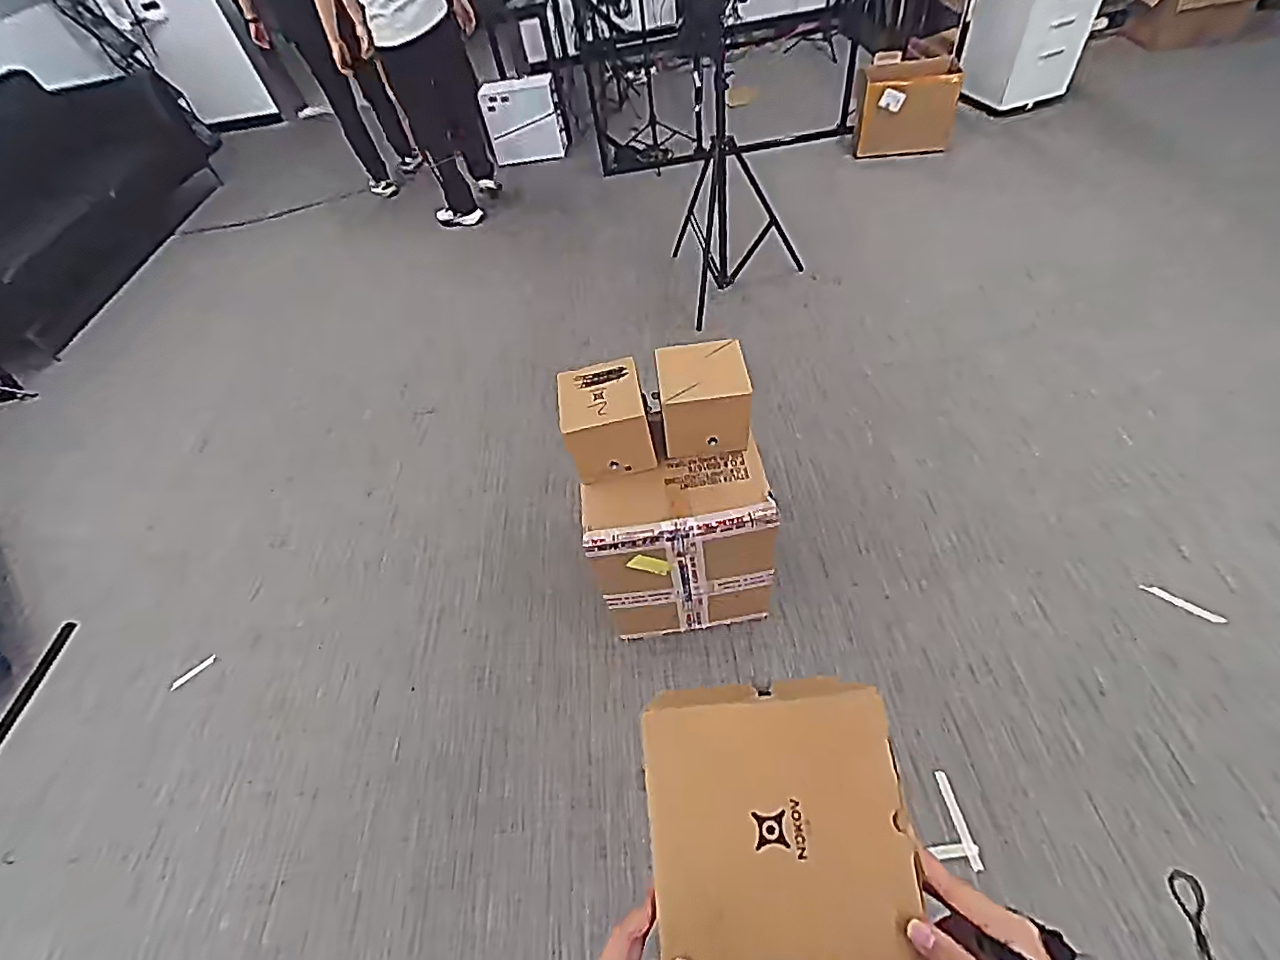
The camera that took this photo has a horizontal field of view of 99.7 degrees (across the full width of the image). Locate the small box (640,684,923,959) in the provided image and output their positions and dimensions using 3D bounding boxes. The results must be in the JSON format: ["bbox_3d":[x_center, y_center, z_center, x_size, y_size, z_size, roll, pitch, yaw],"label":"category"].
[{"bbox_3d":[0.099,0.267,0.454,0.179,0.176,0.168,-6,72,3],"label":"small box"}]
